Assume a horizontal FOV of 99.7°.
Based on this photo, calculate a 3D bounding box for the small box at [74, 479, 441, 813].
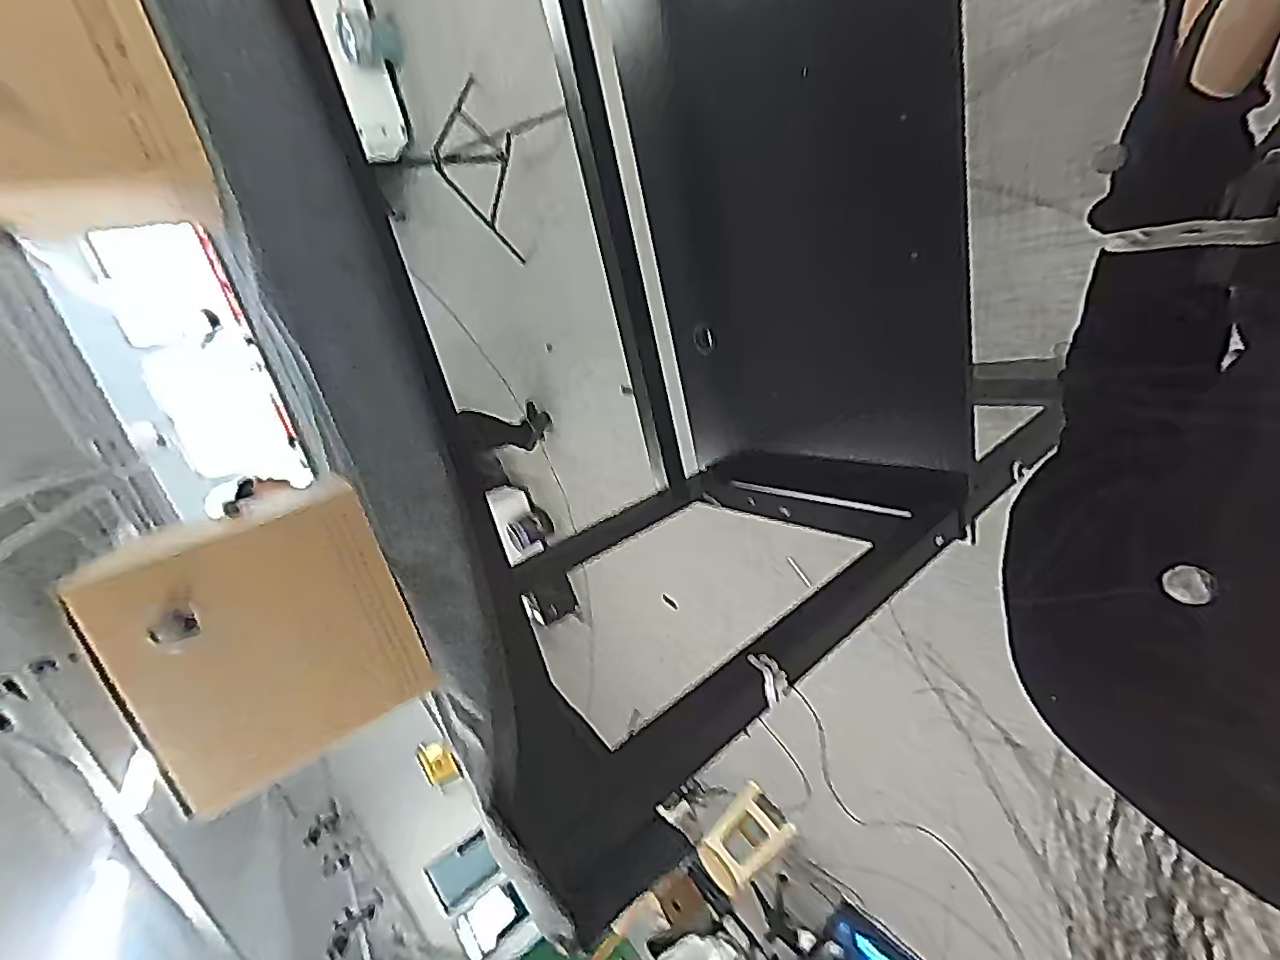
[{"bbox_3d":[-0.289,0.109,0.445,0.168,0.176,0.179,8,119,58],"label":"small box"}]

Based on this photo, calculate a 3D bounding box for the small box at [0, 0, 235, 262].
[{"bbox_3d":[-0.389,-0.248,0.343,0.179,0.176,0.168,19,127,53],"label":"small box"}]
